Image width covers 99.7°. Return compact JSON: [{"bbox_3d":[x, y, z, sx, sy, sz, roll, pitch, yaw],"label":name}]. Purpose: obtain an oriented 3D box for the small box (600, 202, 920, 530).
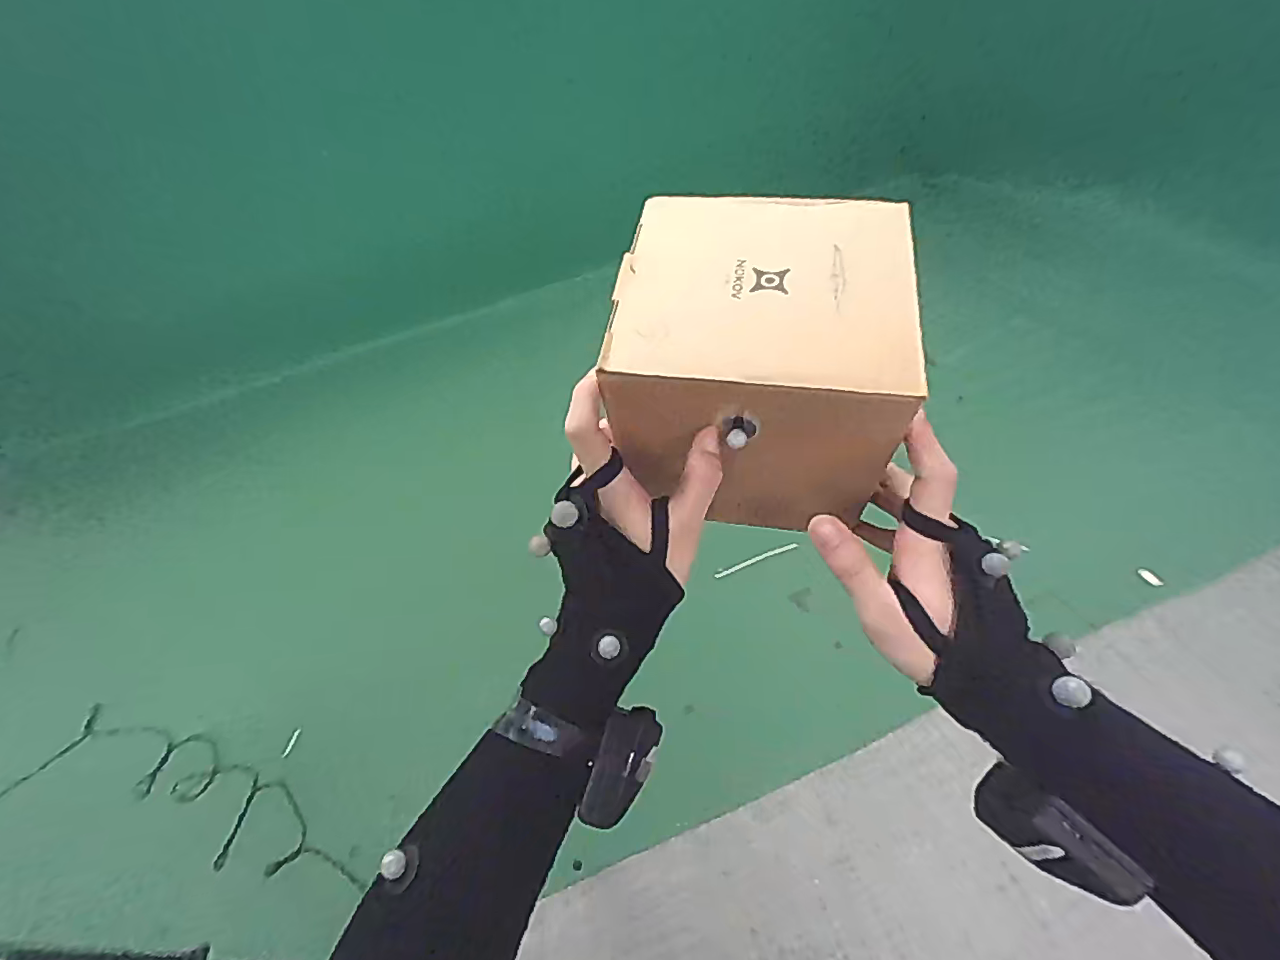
[{"bbox_3d":[0.085,-0.078,0.401,0.179,0.176,0.168,8,60,10],"label":"small box"}]
